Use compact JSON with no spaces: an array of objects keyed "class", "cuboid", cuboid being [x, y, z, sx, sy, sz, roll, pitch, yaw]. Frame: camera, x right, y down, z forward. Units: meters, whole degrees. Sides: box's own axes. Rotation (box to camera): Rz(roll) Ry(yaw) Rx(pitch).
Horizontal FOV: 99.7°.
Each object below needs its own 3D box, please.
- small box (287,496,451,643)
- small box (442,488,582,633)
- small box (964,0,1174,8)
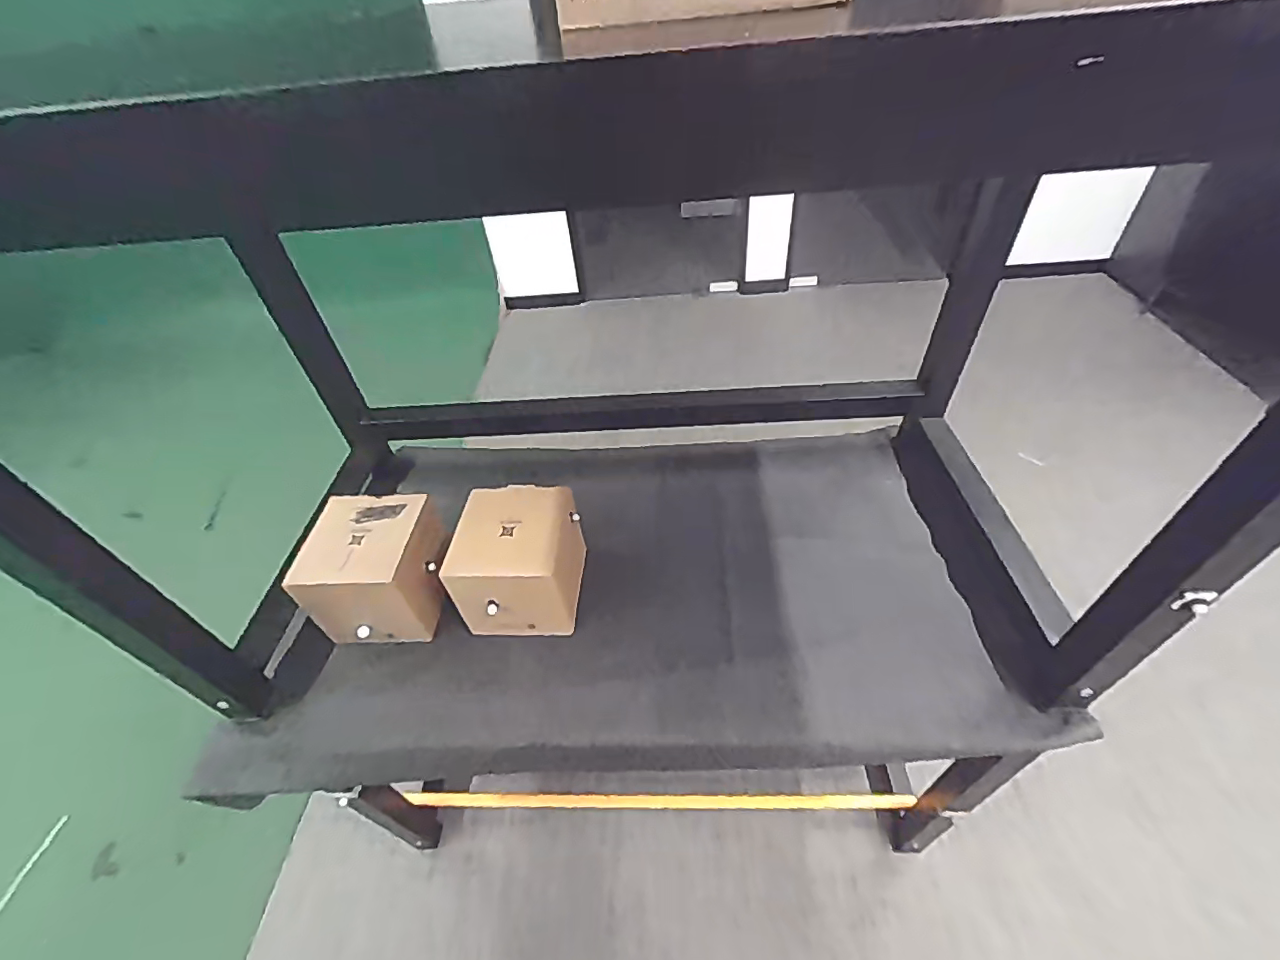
[{"class":"small box","cuboid":[-0.419,0.145,0.884,0.168,0.176,0.179,-2,45,4]},{"class":"small box","cuboid":[-0.192,0.133,0.876,0.168,0.176,0.179,-1,44,5]},{"class":"small box","cuboid":[0.279,-0.362,0.279,0.168,0.176,0.179,6,45,12]}]
